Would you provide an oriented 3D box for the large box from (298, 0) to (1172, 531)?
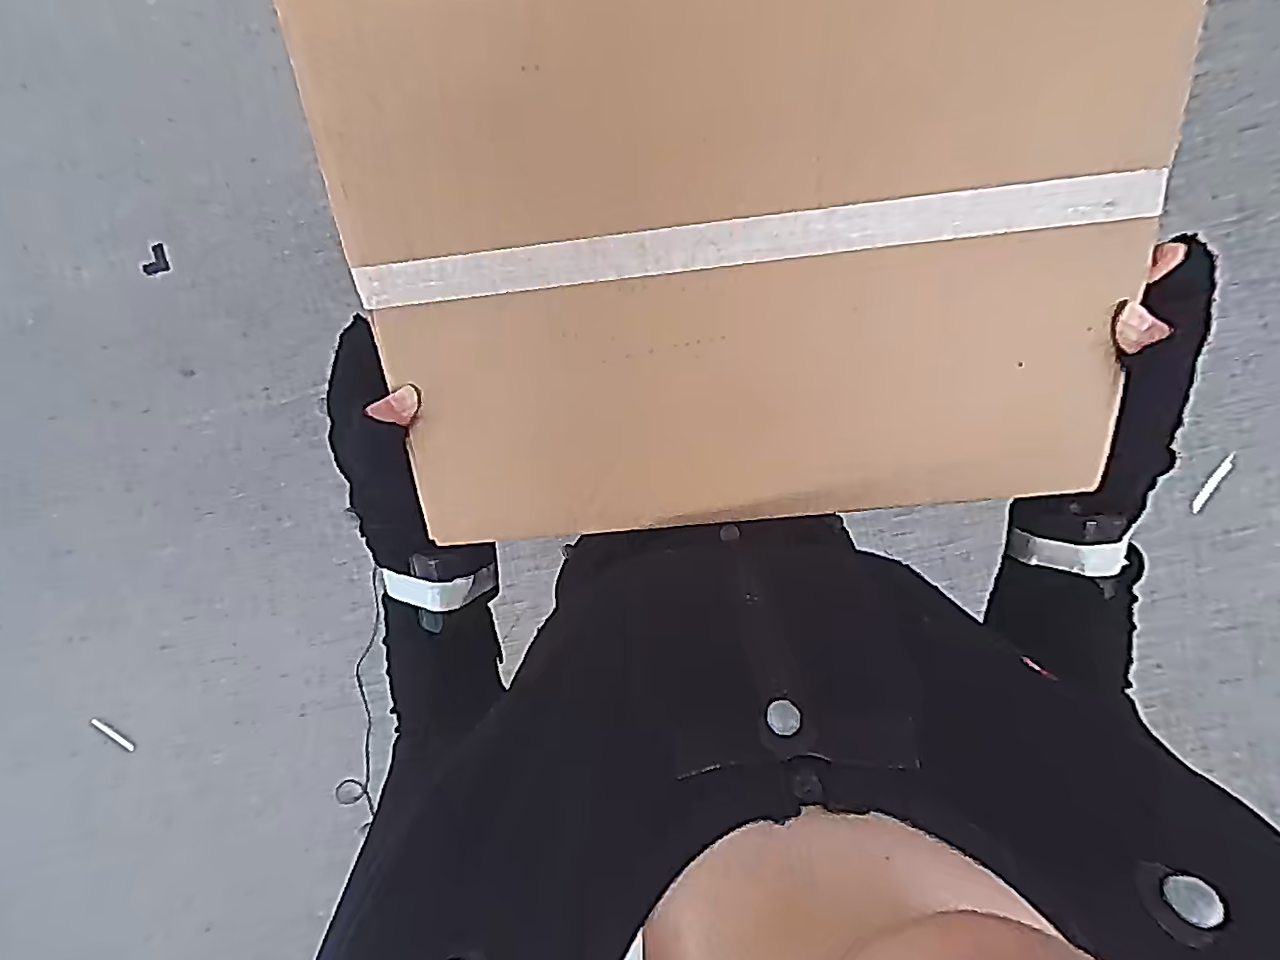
[{"bbox_3d":[0.053,-0.182,0.424,0.408,0.320,0.320,-5,113,3],"label":"large box"}]
